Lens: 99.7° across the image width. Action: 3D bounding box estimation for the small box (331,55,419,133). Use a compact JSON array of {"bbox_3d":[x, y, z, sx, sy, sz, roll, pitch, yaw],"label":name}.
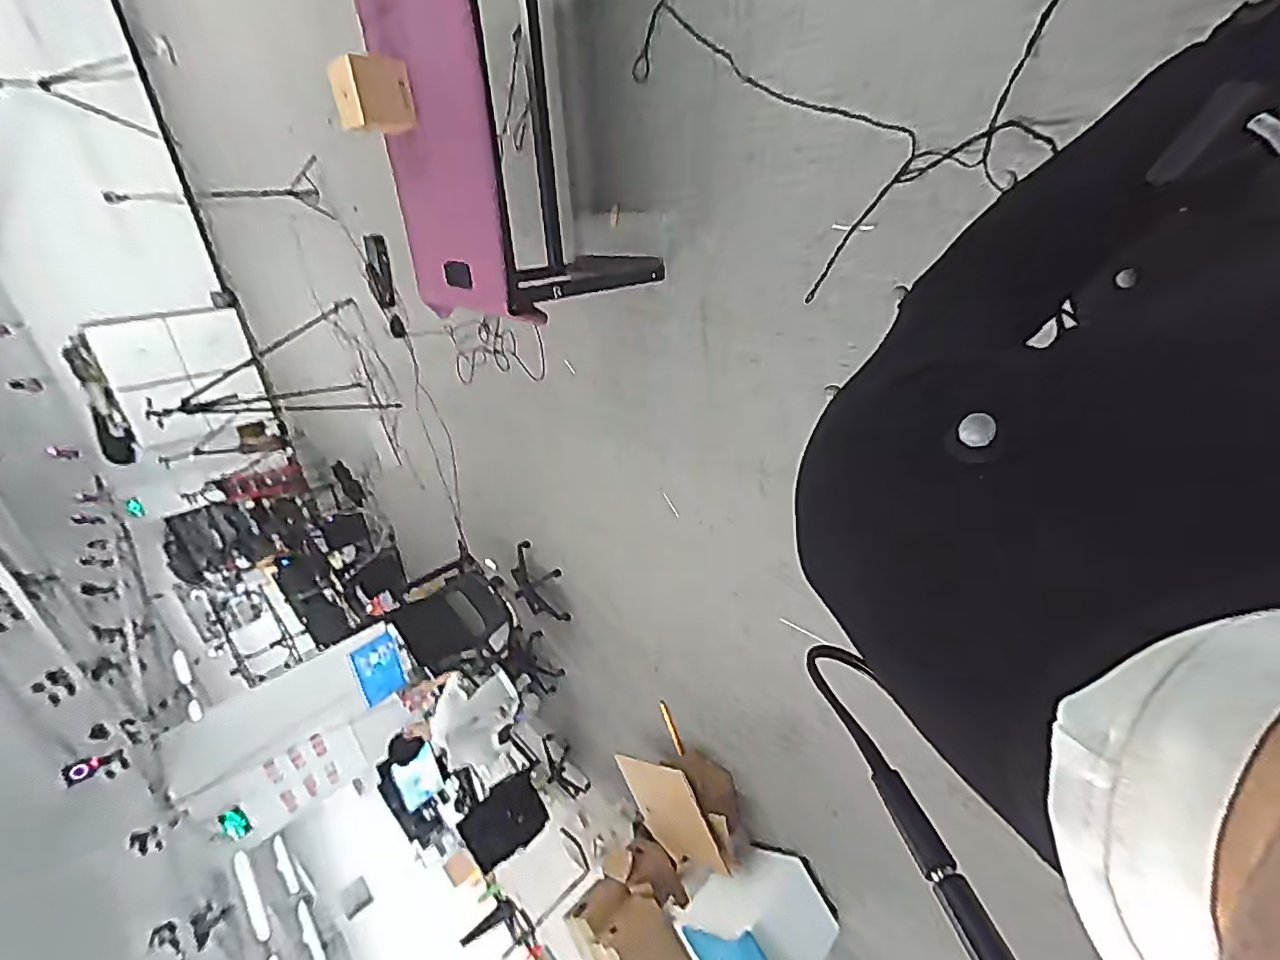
[{"bbox_3d":[-0.789,-1.146,1.618,0.179,0.176,0.168,22,127,40],"label":"small box"}]
